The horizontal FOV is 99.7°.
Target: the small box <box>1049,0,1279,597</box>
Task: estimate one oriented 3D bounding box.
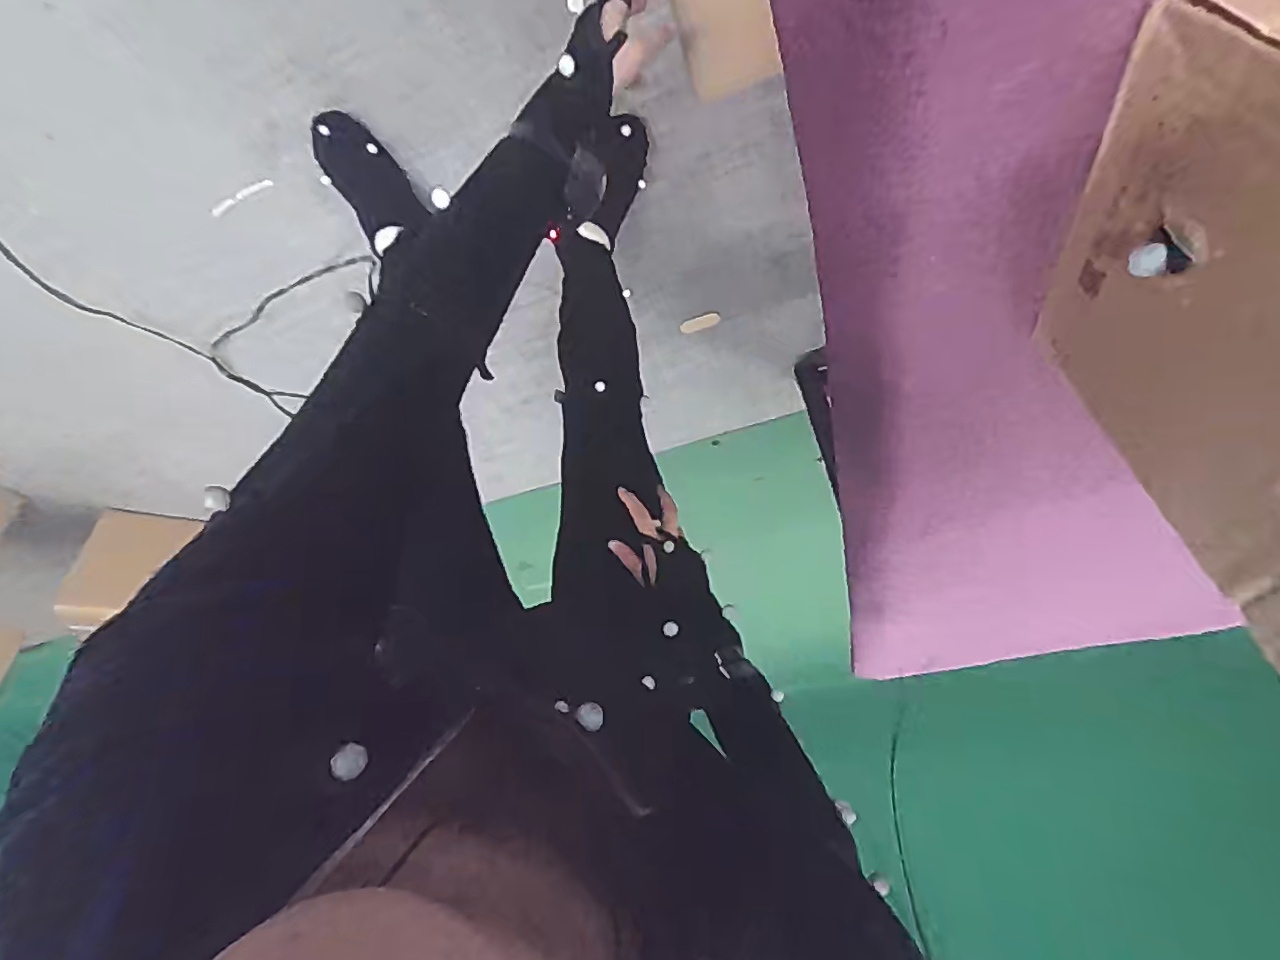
[{"bbox_3d":[0.288,-0.081,0.177,0.179,0.176,0.168,-14,145,14],"label":"small box"}]
